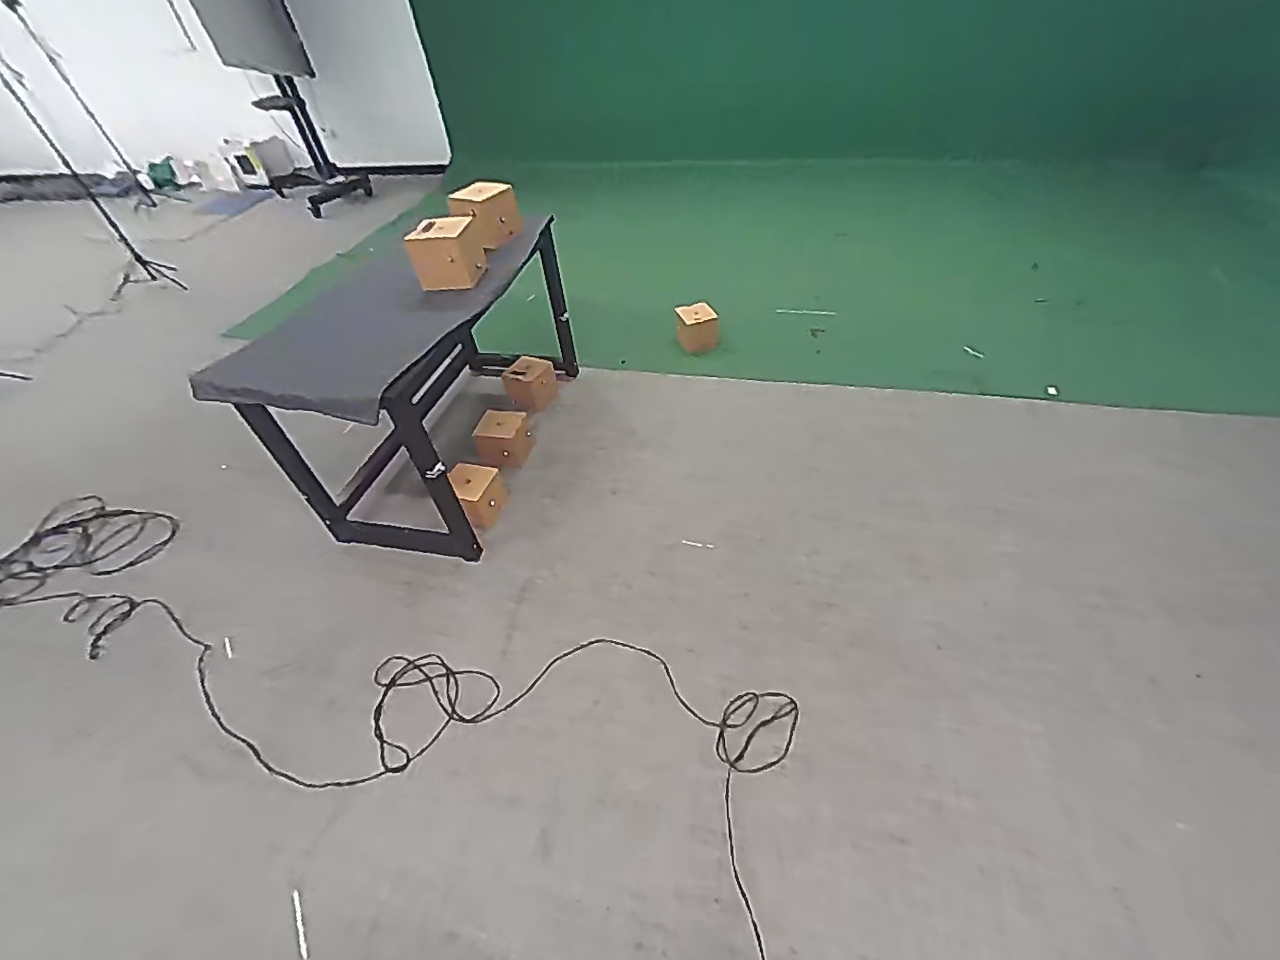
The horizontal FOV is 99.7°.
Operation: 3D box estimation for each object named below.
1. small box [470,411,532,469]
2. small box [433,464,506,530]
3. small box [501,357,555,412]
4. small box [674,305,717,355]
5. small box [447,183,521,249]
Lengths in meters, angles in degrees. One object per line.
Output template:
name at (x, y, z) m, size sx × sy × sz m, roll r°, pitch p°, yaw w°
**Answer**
small box at (-0.561, -0.161, 2.214) m, size 0.179 × 0.176 × 0.168 m, roll 4°, pitch 45°, yaw 11°
small box at (-0.621, 0.066, 1.999) m, size 0.179 × 0.176 × 0.168 m, roll 9°, pitch 47°, yaw 15°
small box at (-0.507, -0.438, 2.481) m, size 0.168 × 0.176 × 0.179 m, roll 17°, pitch 48°, yaw 20°
small box at (0.277, -0.755, 2.719) m, size 0.168 × 0.176 × 0.179 m, roll -16°, pitch 45°, yaw -10°
small box at (-0.562, -0.963, 1.975) m, size 0.179 × 0.176 × 0.168 m, roll 21°, pitch 51°, yaw 28°
